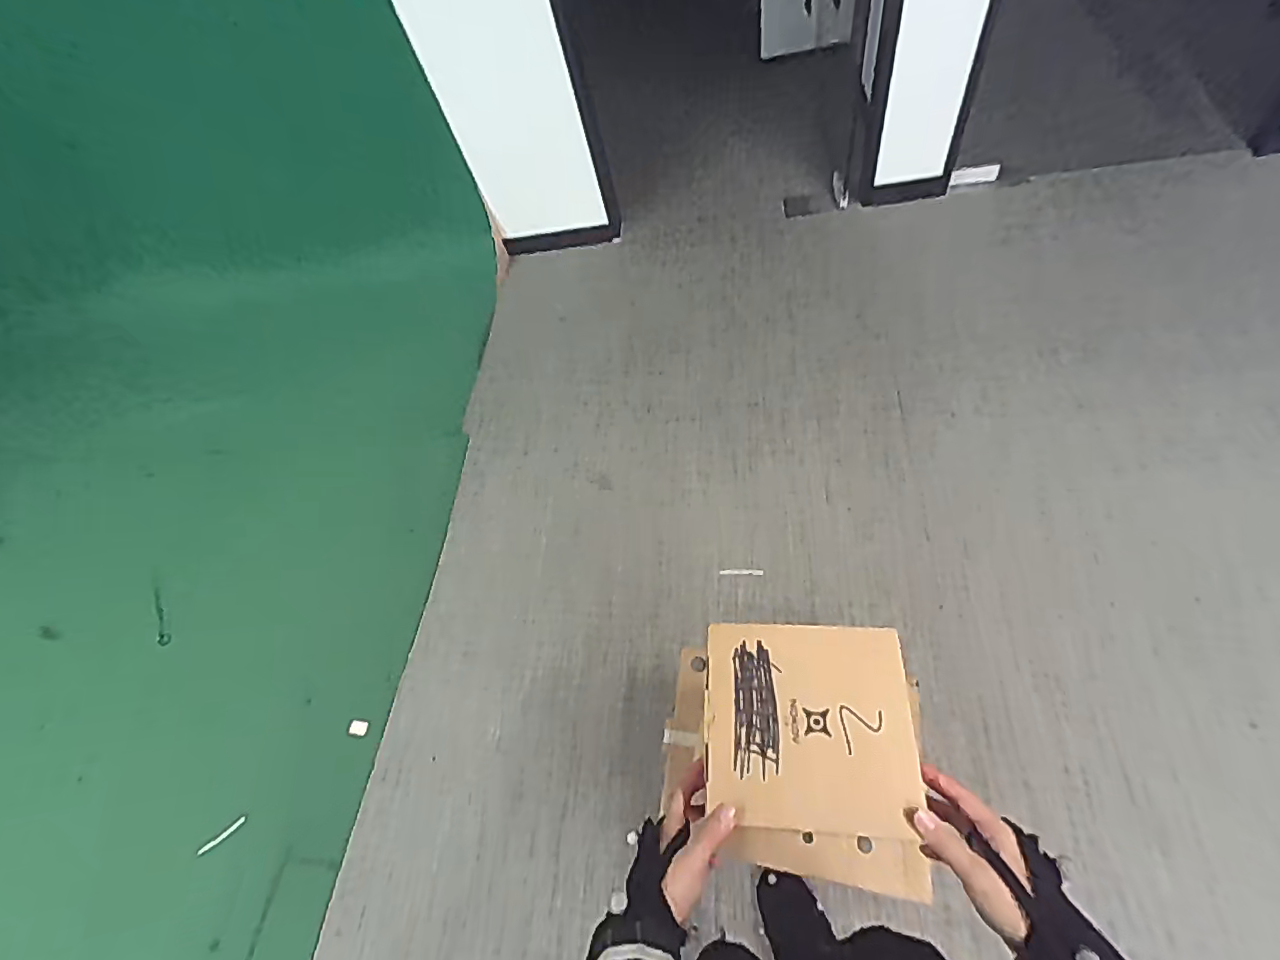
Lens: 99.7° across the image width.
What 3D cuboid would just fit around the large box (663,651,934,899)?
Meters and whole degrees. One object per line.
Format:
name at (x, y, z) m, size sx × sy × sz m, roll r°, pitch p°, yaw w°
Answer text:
large box at (0.274, 0.533, 1.009) m, size 0.408 × 0.320 × 0.320 m, roll 4°, pitch 60°, yaw 14°

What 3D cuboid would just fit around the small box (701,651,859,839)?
small box at (0.171, 0.330, 0.675) m, size 0.168 × 0.176 × 0.179 m, roll 2°, pitch 58°, yaw 12°
